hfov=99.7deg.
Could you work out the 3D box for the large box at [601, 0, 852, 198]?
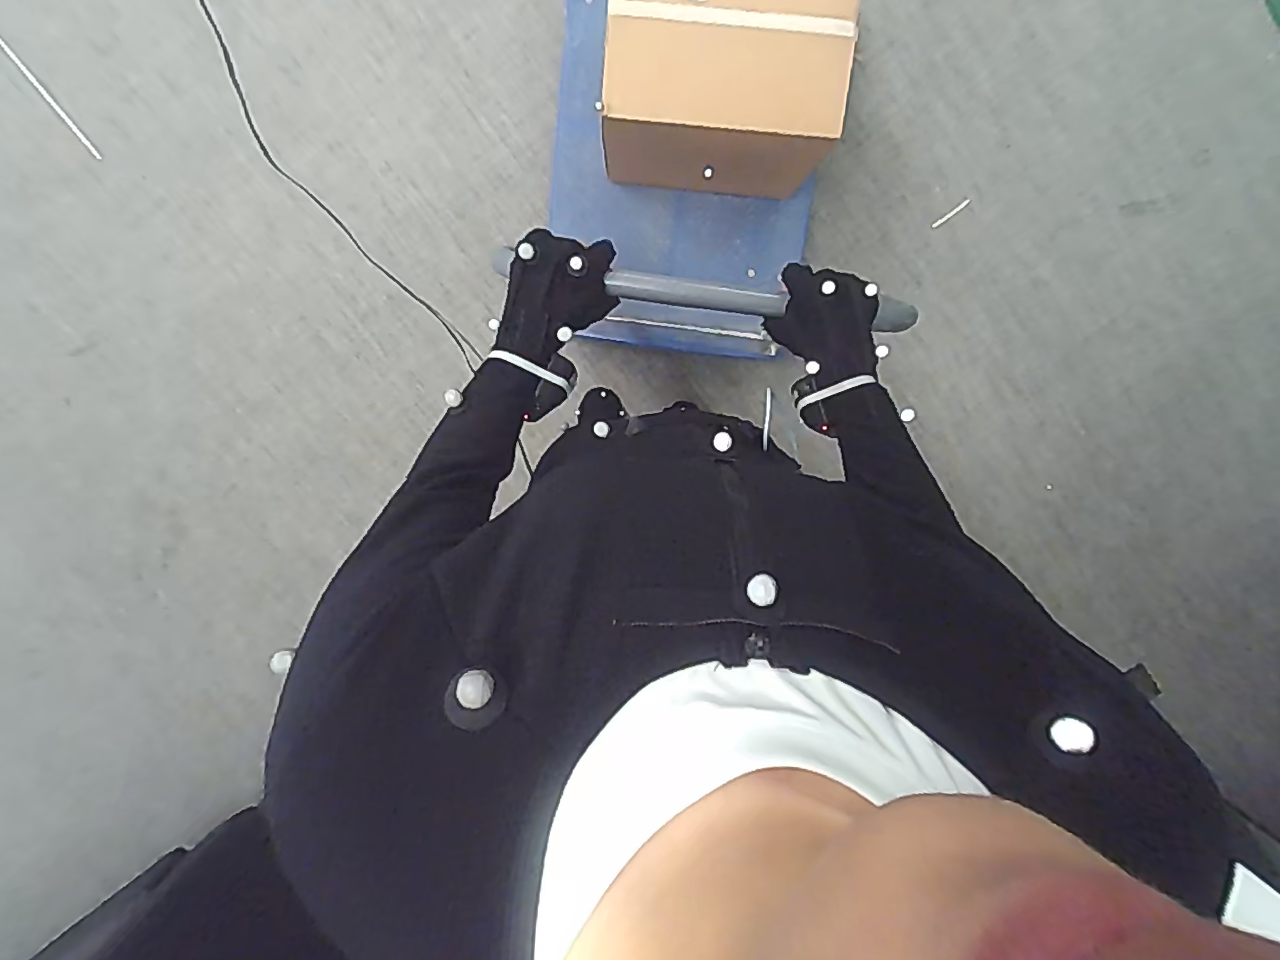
[{"bbox_3d":[0.143,-0.758,1.028,0.408,0.320,0.320,4,99,-1],"label":"large box"}]
